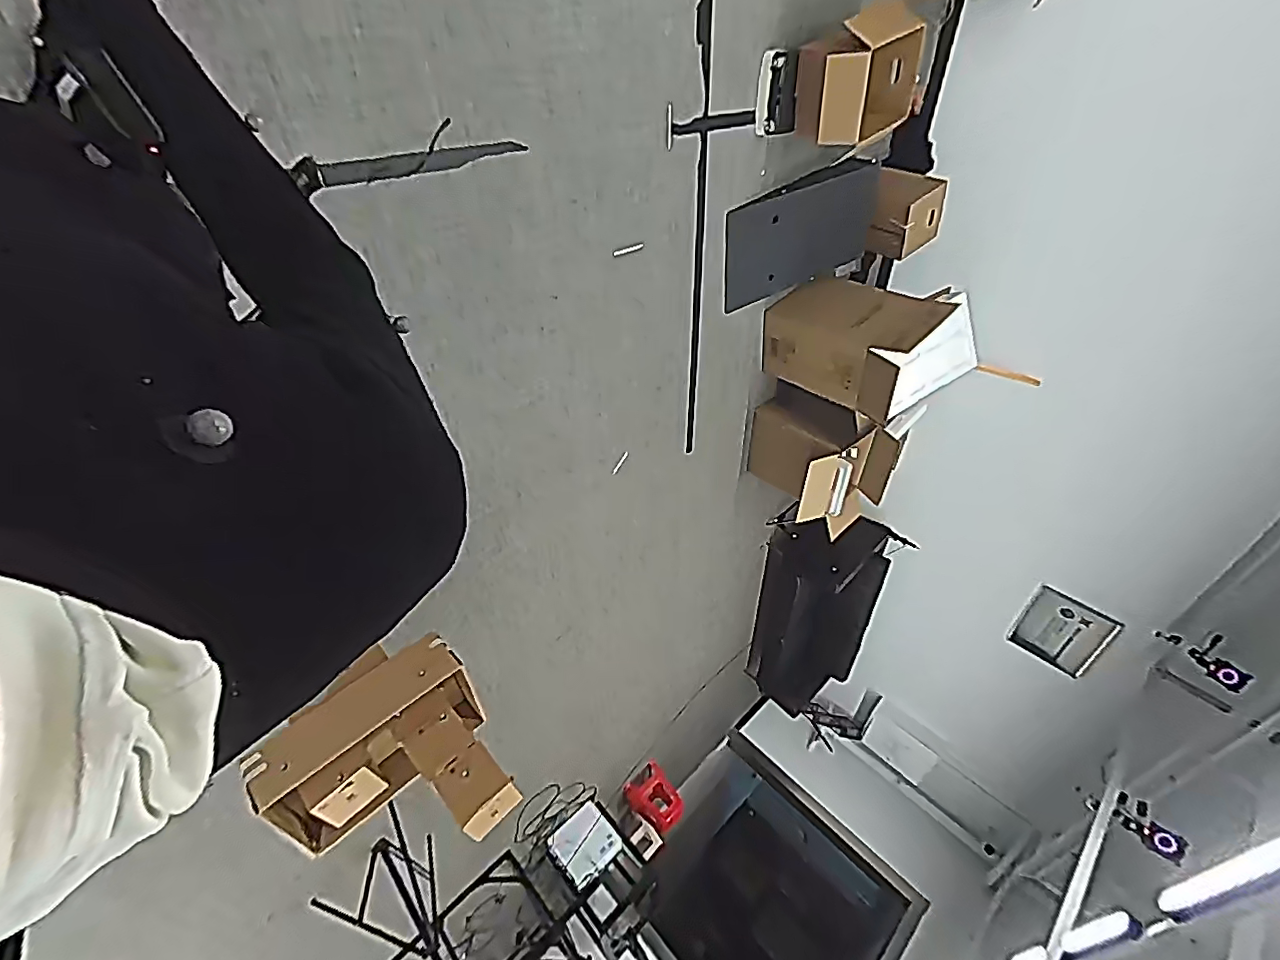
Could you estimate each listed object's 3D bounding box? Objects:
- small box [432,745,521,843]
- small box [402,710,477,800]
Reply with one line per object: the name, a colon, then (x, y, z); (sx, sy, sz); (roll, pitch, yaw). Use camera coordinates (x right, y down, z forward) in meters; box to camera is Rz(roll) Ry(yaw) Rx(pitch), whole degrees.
small box: (-0.481, 0.925, 1.601); (0.168, 0.176, 0.179); (-37, 143, -28)
small box: (-0.607, 0.849, 1.680); (0.168, 0.176, 0.179); (-36, 143, -29)
